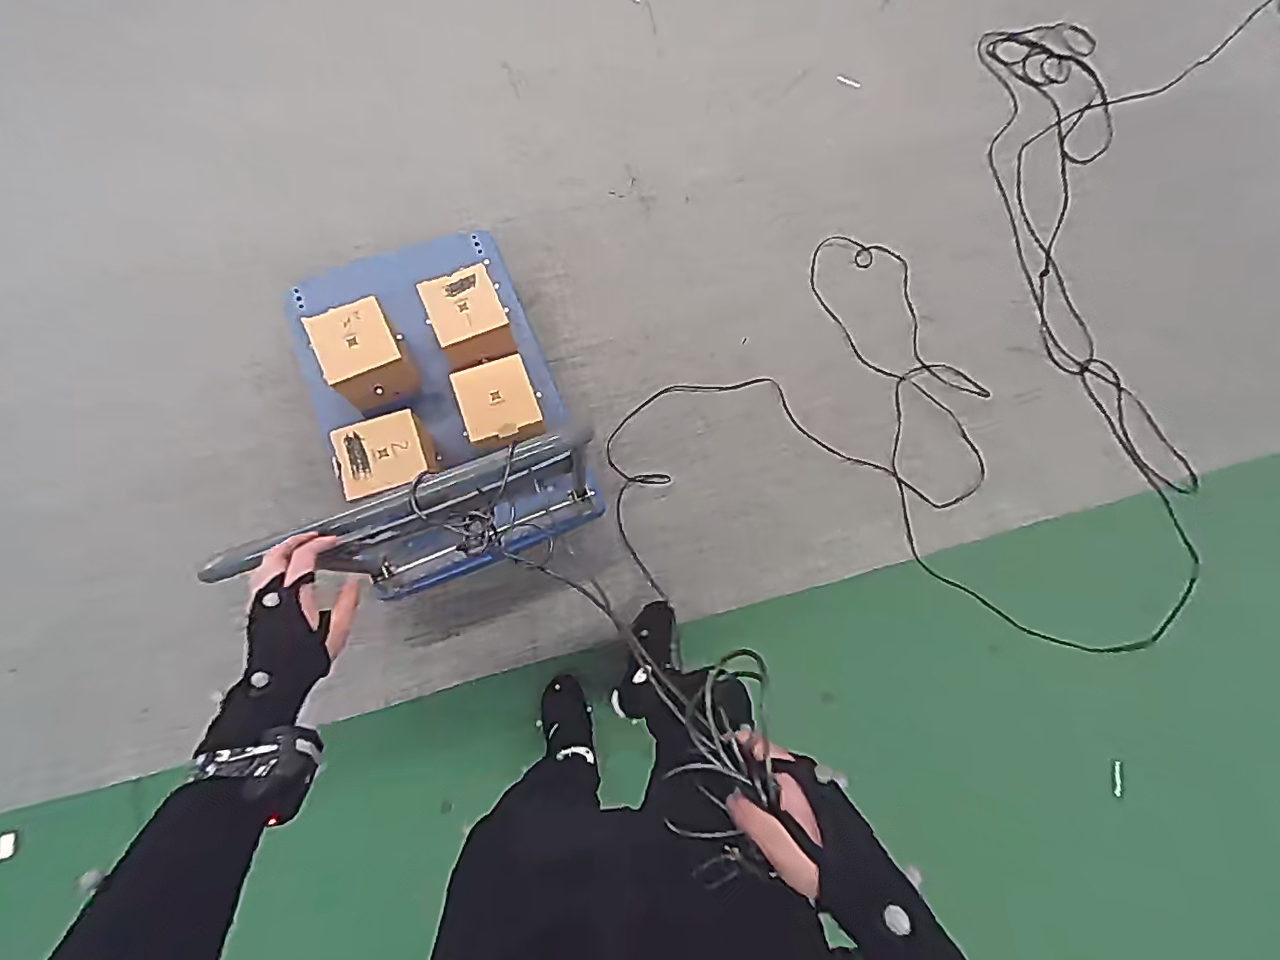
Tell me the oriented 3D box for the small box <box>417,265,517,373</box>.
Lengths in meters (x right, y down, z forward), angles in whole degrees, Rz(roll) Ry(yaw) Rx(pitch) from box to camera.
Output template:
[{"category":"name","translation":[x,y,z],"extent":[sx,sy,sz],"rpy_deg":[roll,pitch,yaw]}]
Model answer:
[{"category":"small box","translation":[-0.418,-0.385,1.331],"extent":[0.168,0.176,0.179],"rpy_deg":[-23,79,-8]}]

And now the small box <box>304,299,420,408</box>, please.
[{"category":"small box","translation":[-0.653,-0.291,1.292],"extent":[0.168,0.176,0.179],"rpy_deg":[-25,79,-10]}]

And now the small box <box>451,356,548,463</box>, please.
[{"category":"small box","translation":[-0.327,-0.161,1.284],"extent":[0.168,0.176,0.179],"rpy_deg":[-20,78,-8]}]
